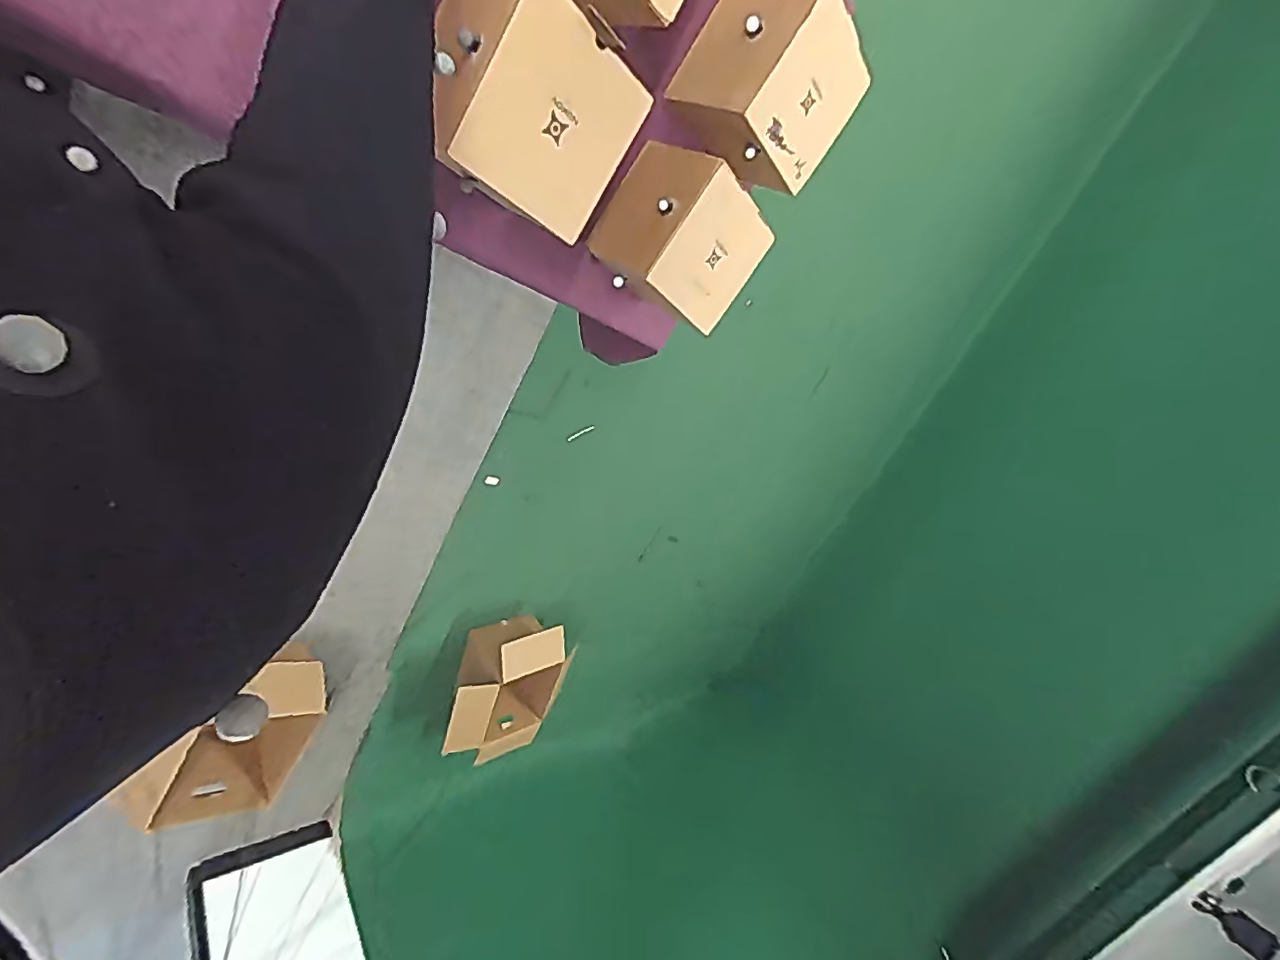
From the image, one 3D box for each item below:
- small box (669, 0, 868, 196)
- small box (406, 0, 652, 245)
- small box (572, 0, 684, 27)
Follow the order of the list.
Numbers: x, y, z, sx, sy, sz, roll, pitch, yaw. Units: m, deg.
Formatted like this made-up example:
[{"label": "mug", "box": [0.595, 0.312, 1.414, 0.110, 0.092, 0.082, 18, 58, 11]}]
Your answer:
[{"label": "small box", "box": [0.173, -0.538, 0.746, 0.168, 0.176, 0.179, 20, 108, -51]}, {"label": "small box", "box": [-0.127, -0.396, 0.582, 0.168, 0.176, 0.179, 17, 112, -50]}, {"label": "small box", "box": [-0.025, -0.581, 0.506, 0.168, 0.176, 0.179, 13, 114, -50]}]
